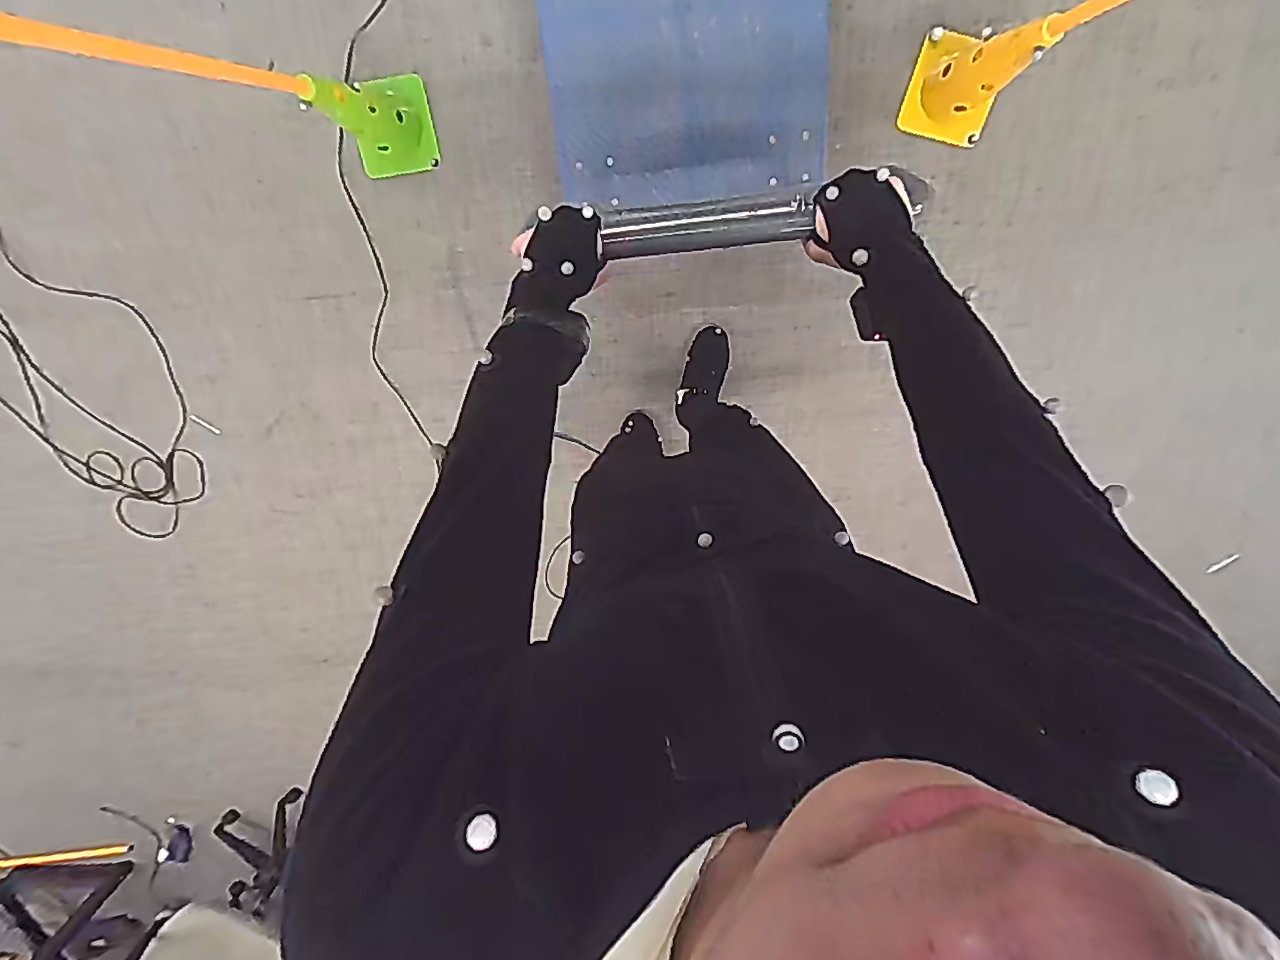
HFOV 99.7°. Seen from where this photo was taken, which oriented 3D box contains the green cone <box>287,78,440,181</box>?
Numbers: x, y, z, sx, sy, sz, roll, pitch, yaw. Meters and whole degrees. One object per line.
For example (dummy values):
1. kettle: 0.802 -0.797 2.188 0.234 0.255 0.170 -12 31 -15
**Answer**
1. green cone: -0.620 -0.797 1.173 0.202 0.368 0.200 -6 111 8
